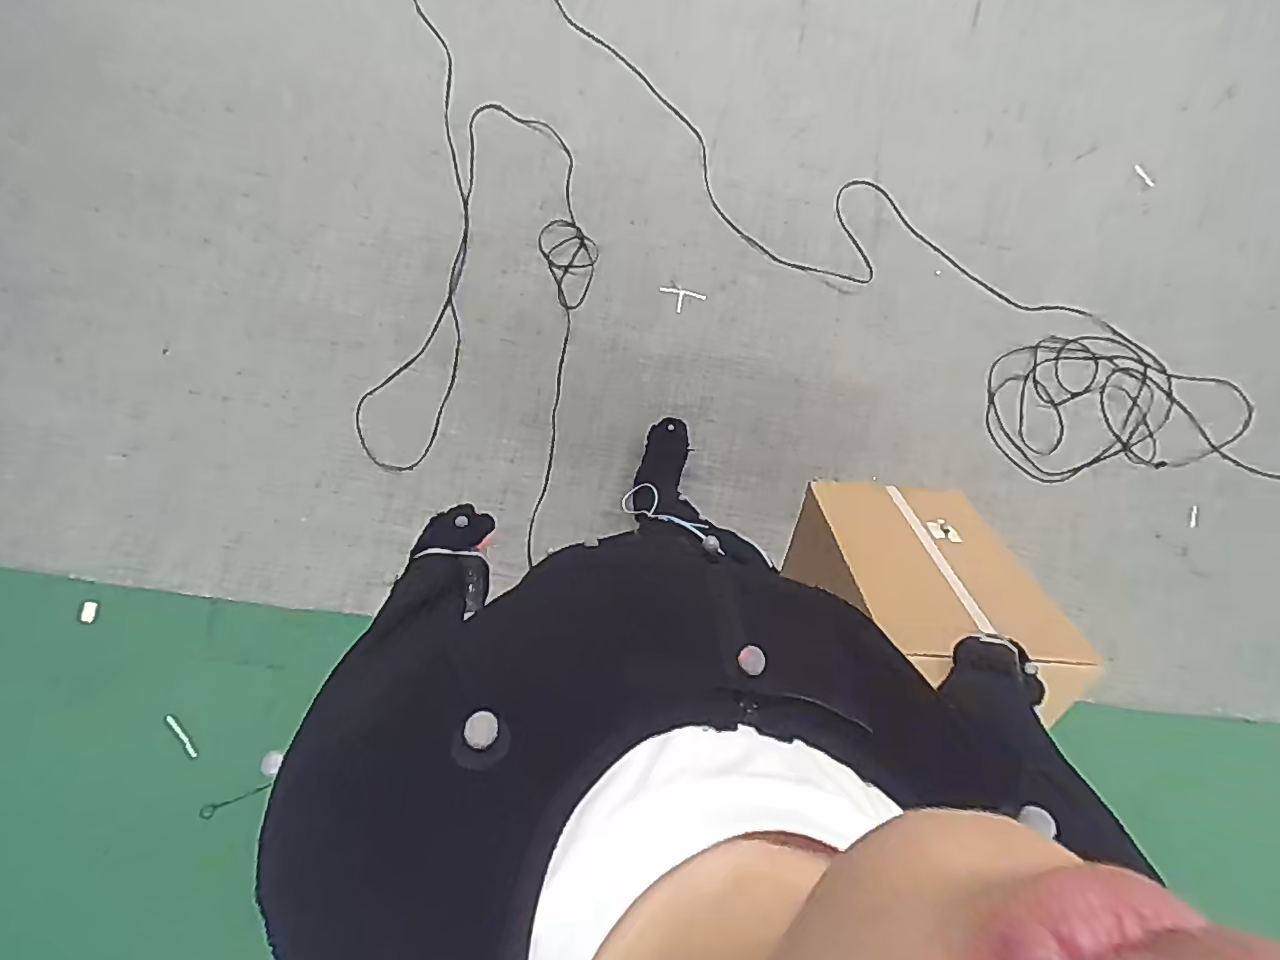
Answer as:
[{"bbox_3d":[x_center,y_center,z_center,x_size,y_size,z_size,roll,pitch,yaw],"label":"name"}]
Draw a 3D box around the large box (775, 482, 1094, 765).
[{"bbox_3d":[0.469,0.247,0.988,0.320,0.408,0.320,4,124,-4],"label":"large box"}]
